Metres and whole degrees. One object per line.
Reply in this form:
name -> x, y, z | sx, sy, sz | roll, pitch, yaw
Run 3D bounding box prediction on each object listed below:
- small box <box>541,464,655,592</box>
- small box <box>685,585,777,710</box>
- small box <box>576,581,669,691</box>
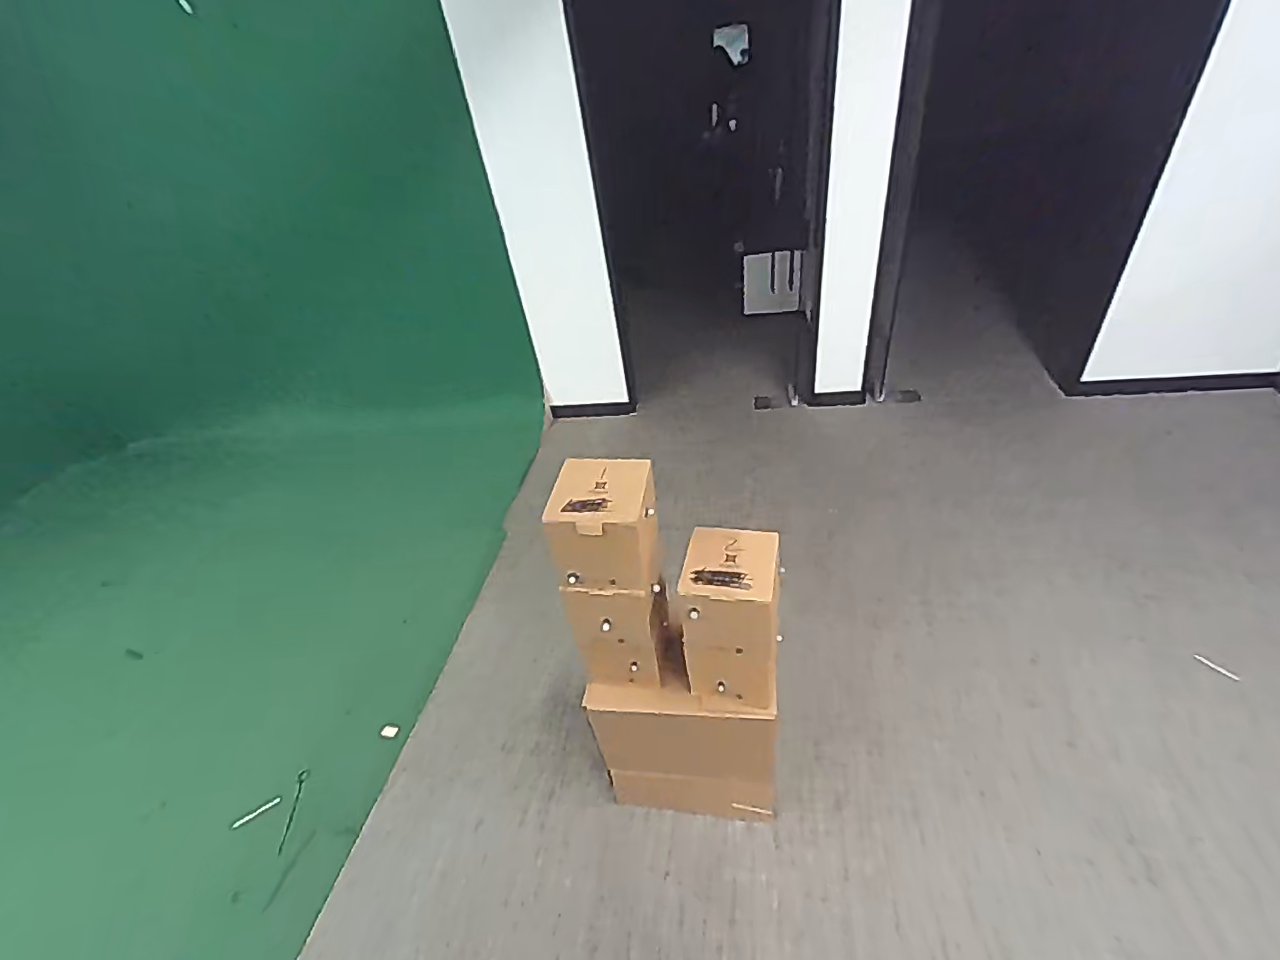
small box -> -0.065, 0.087, 0.993 | 0.168, 0.176, 0.179 | 0, 38, 10
small box -> 0.198, 0.348, 1.136 | 0.168, 0.176, 0.179 | 2, 39, 17
small box -> -0.028, 0.343, 1.196 | 0.168, 0.176, 0.179 | 1, 39, 11
